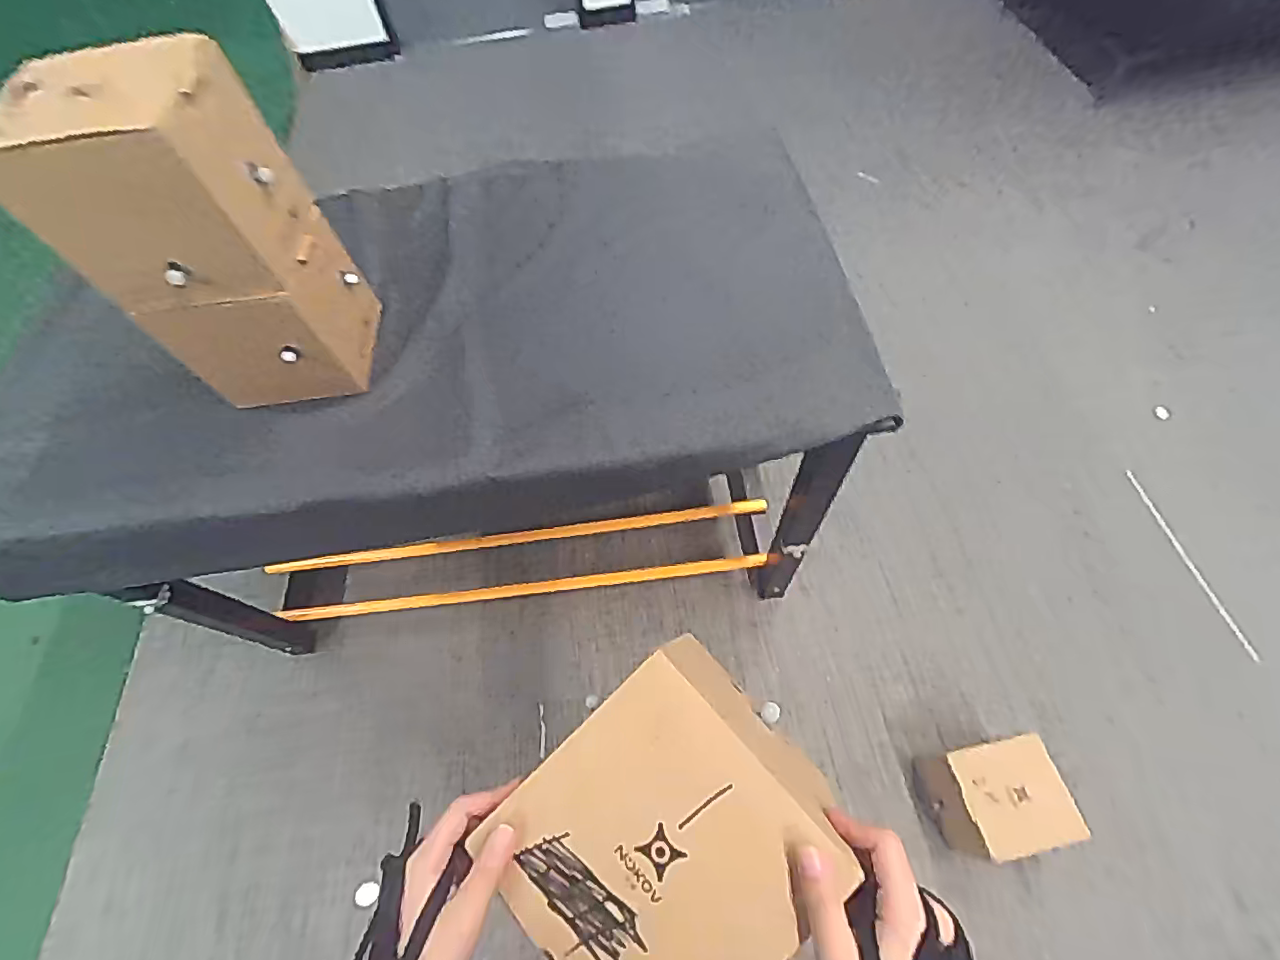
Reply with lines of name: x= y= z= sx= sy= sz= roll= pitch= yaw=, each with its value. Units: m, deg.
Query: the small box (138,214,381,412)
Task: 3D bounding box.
small box: x=-0.460 y=-0.206 z=0.692 sx=0.179 sy=0.176 sz=0.168 roll=-8 pitch=58 yaw=0

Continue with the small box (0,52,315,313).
small box: x=-0.472 y=-0.296 z=0.555 sx=0.179 sy=0.176 sz=0.168 roll=-8 pitch=59 yaw=-1

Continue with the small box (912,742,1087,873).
small box: x=0.640 y=0.593 z=0.991 sx=0.179 sy=0.176 sz=0.168 roll=-13 pitch=59 yaw=-3
